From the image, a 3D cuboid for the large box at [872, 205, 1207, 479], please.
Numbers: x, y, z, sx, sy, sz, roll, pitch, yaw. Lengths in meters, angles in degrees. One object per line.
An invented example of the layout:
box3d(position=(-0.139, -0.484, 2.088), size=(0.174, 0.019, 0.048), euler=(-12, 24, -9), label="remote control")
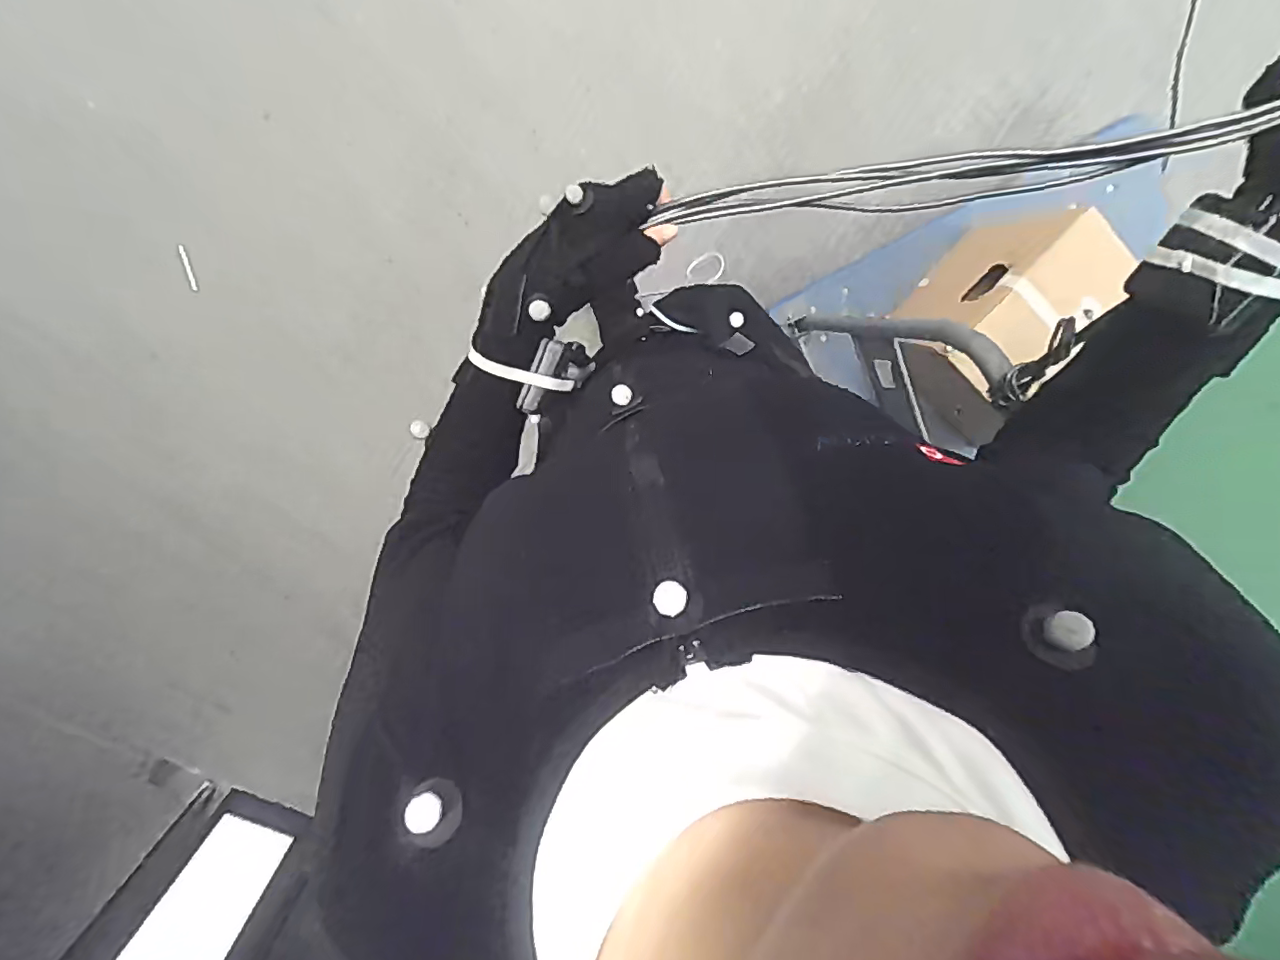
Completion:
box3d(position=(0.775, -0.275, 1.106), size=(0.408, 0.320, 0.320), euler=(39, 104, -13), label="large box")
